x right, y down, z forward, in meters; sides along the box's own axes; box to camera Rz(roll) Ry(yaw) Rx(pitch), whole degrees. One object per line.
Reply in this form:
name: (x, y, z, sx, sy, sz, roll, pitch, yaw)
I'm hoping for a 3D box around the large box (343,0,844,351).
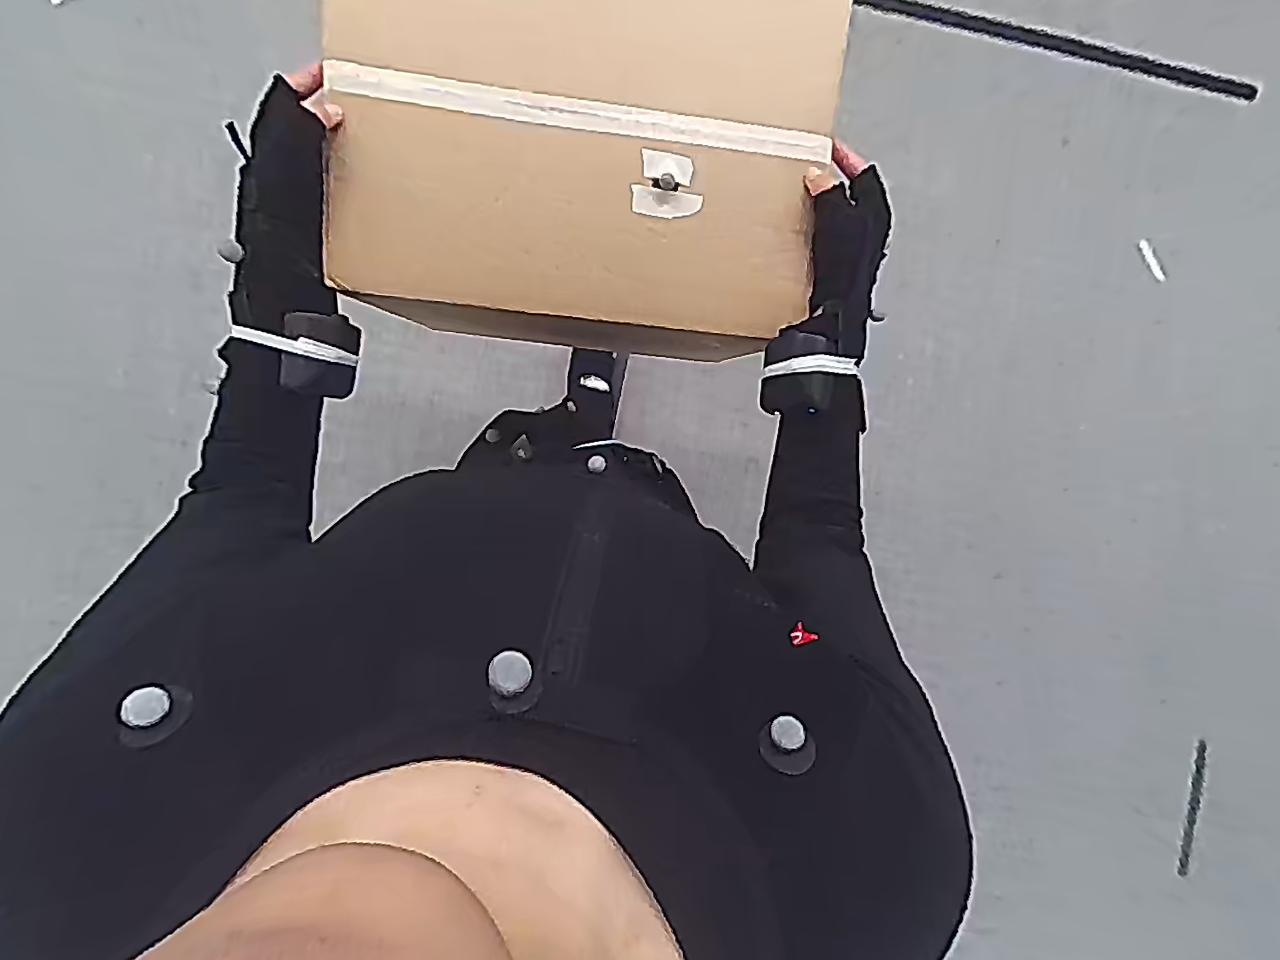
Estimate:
large box: (-0.054, -0.325, 0.592, 0.408, 0.320, 0.320, 5, 100, -7)
